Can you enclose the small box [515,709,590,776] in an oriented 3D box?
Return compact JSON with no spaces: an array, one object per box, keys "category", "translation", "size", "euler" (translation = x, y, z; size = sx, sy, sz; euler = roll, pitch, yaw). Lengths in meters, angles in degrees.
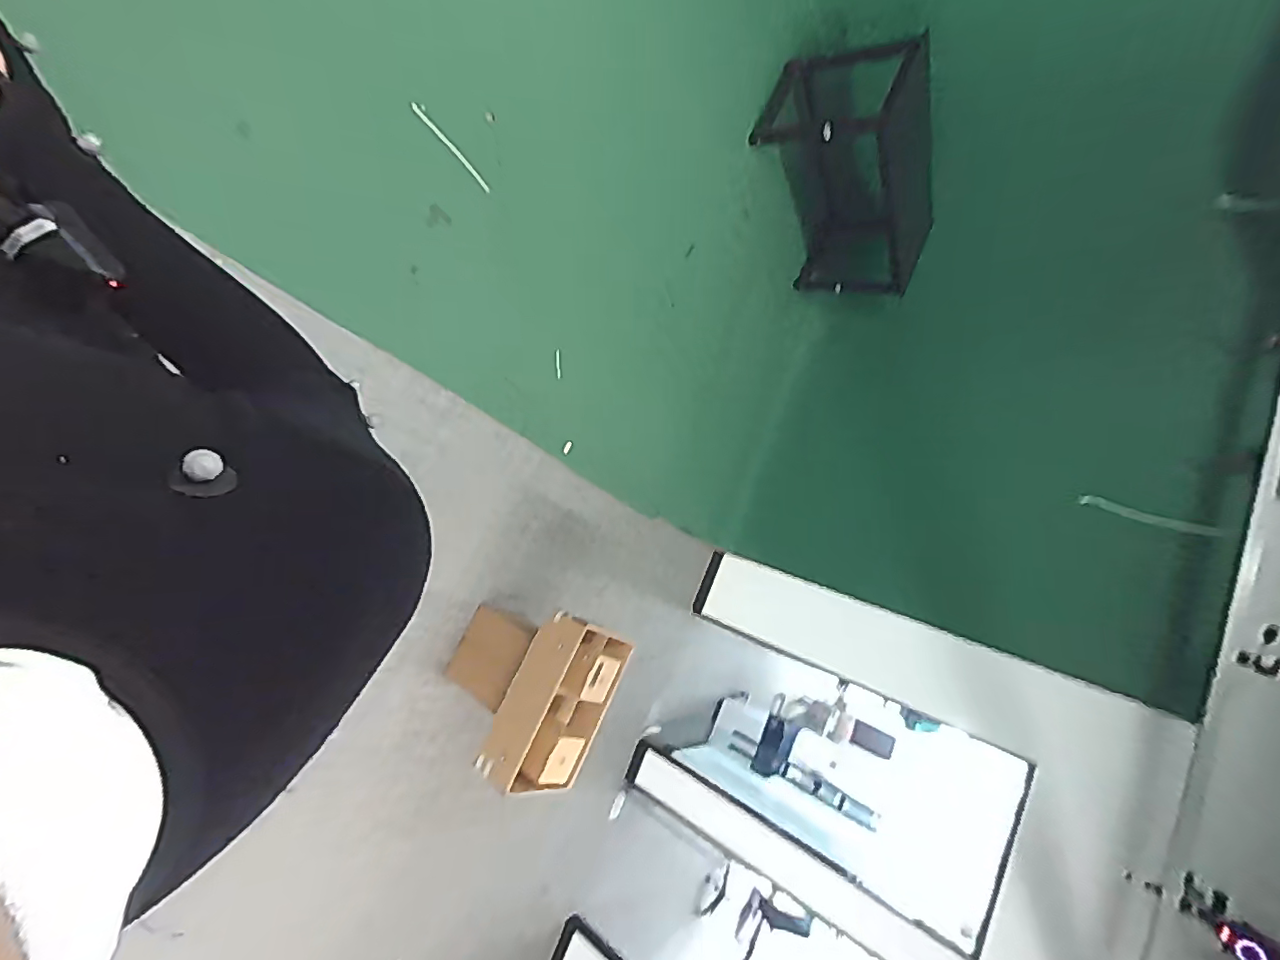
[{"category":"small box","translation":[-0.325,0.971,2.007],"size":[0.179,0.176,0.168],"euler":[42,71,-51]}]
